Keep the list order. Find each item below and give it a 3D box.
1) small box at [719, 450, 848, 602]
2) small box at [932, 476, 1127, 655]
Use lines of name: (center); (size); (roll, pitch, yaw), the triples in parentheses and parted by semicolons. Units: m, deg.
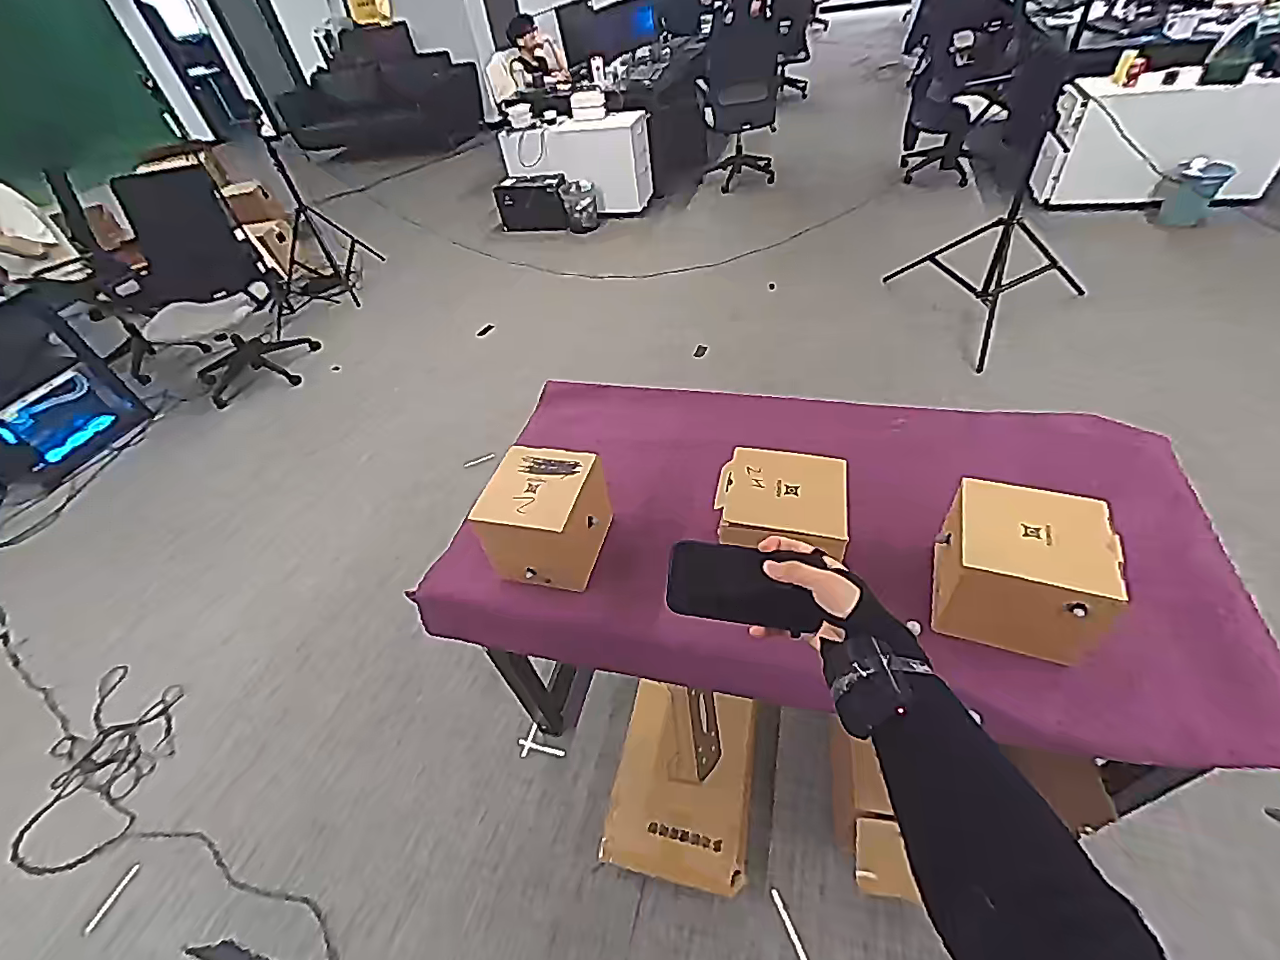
small box: (0.225, 0.074, 0.857); (0.179, 0.176, 0.168); (5, 44, 15)
small box: (0.525, 0.121, 0.760); (0.179, 0.176, 0.168); (11, 48, 20)
